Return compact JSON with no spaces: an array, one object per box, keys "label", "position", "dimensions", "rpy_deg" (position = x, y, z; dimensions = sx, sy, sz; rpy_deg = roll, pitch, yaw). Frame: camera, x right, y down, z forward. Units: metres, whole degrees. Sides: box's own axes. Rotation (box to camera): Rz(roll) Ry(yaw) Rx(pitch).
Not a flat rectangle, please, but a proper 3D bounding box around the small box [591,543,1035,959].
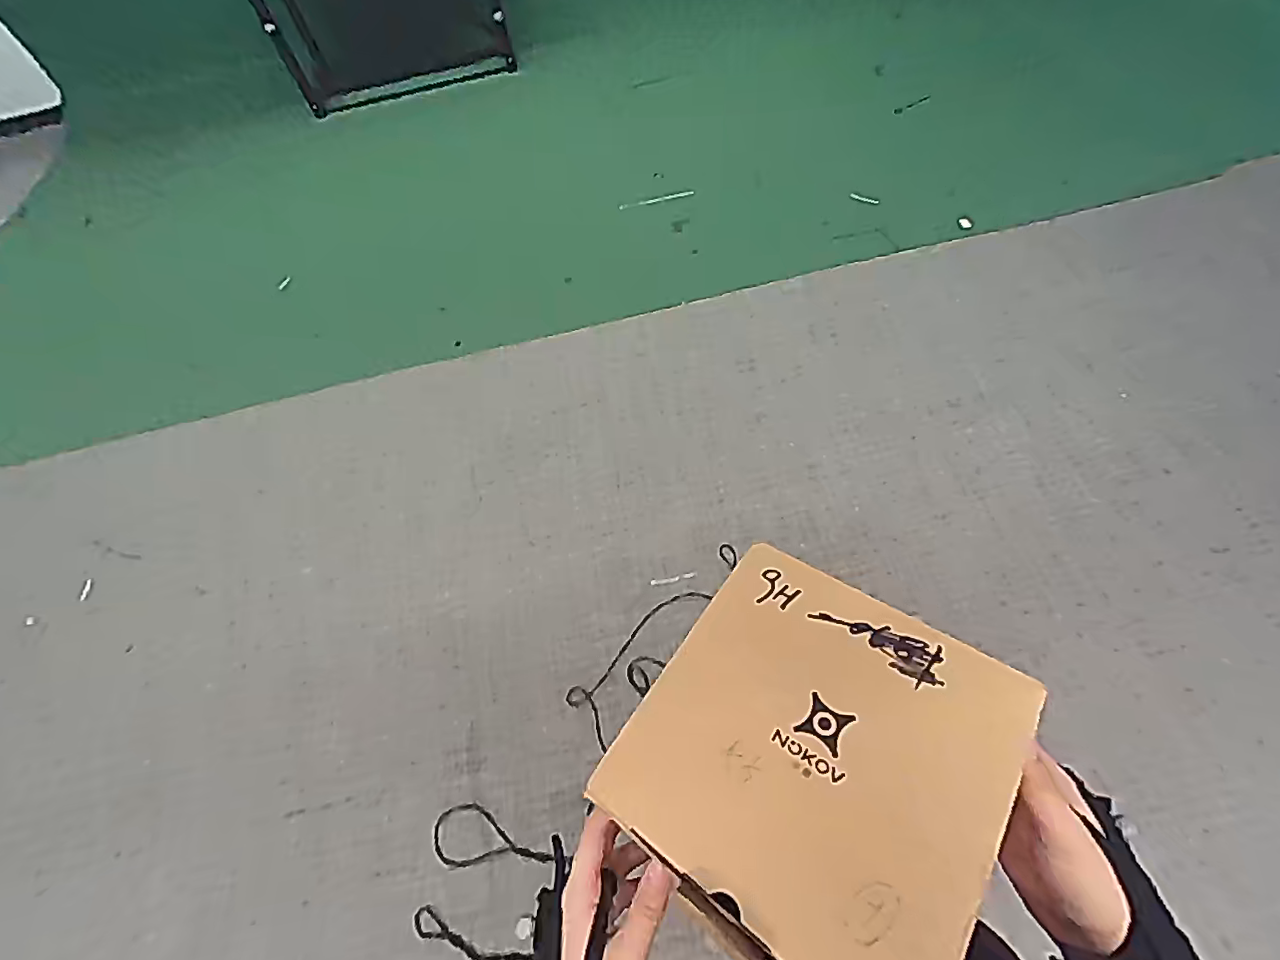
[{"label":"small box","position":[0.100,0.179,0.339],"dimensions":[0.168,0.176,0.179],"rpy_deg":[27,62,28]}]
